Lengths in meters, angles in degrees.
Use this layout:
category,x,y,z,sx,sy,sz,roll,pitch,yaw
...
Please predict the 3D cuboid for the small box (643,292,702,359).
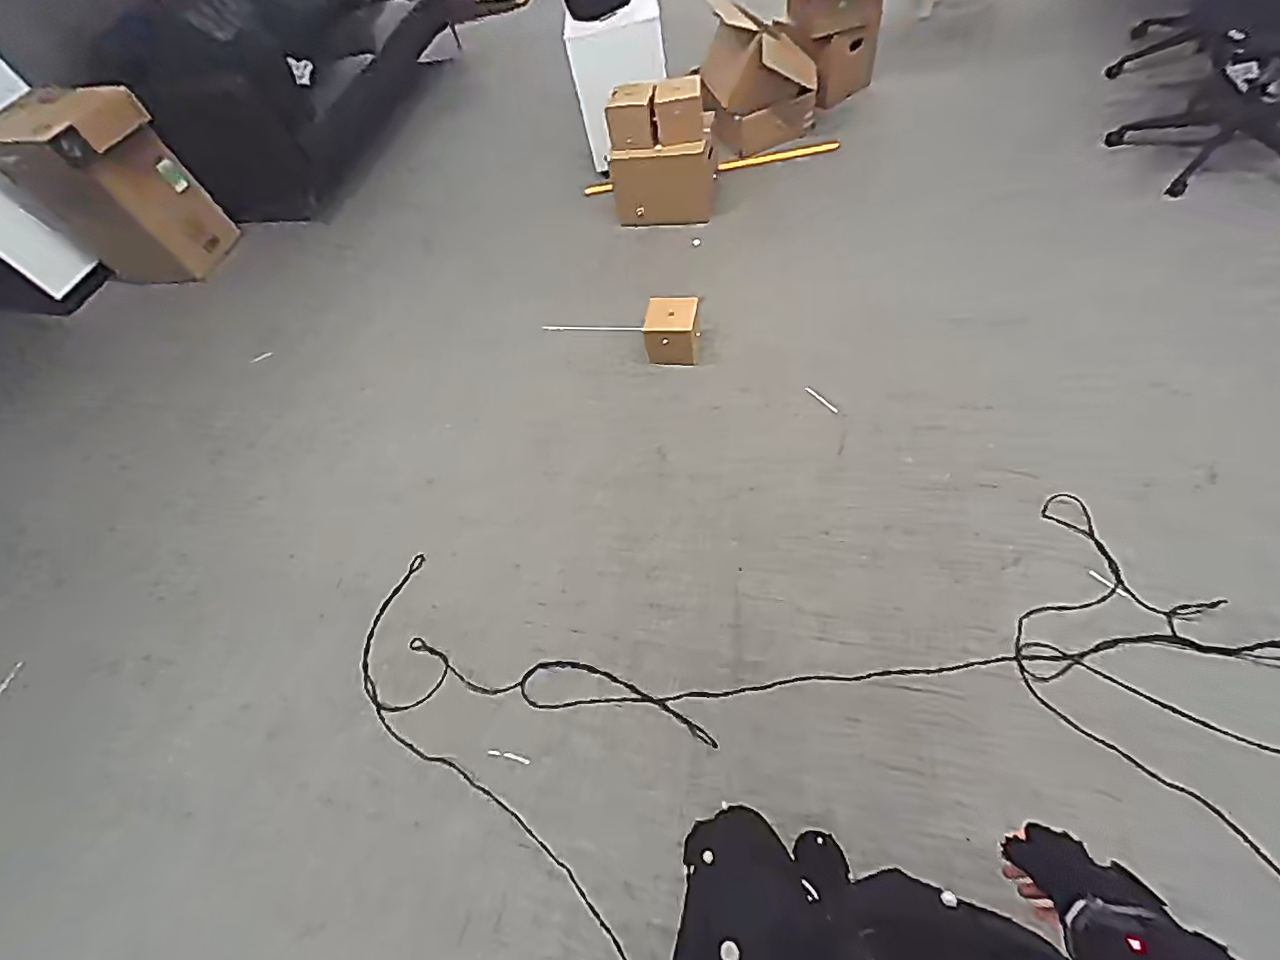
category,x,y,z,sx,sy,sz,roll,pitch,yaw
small box,0.122,-0.547,1.923,0.179,0.176,0.168,4,61,15
